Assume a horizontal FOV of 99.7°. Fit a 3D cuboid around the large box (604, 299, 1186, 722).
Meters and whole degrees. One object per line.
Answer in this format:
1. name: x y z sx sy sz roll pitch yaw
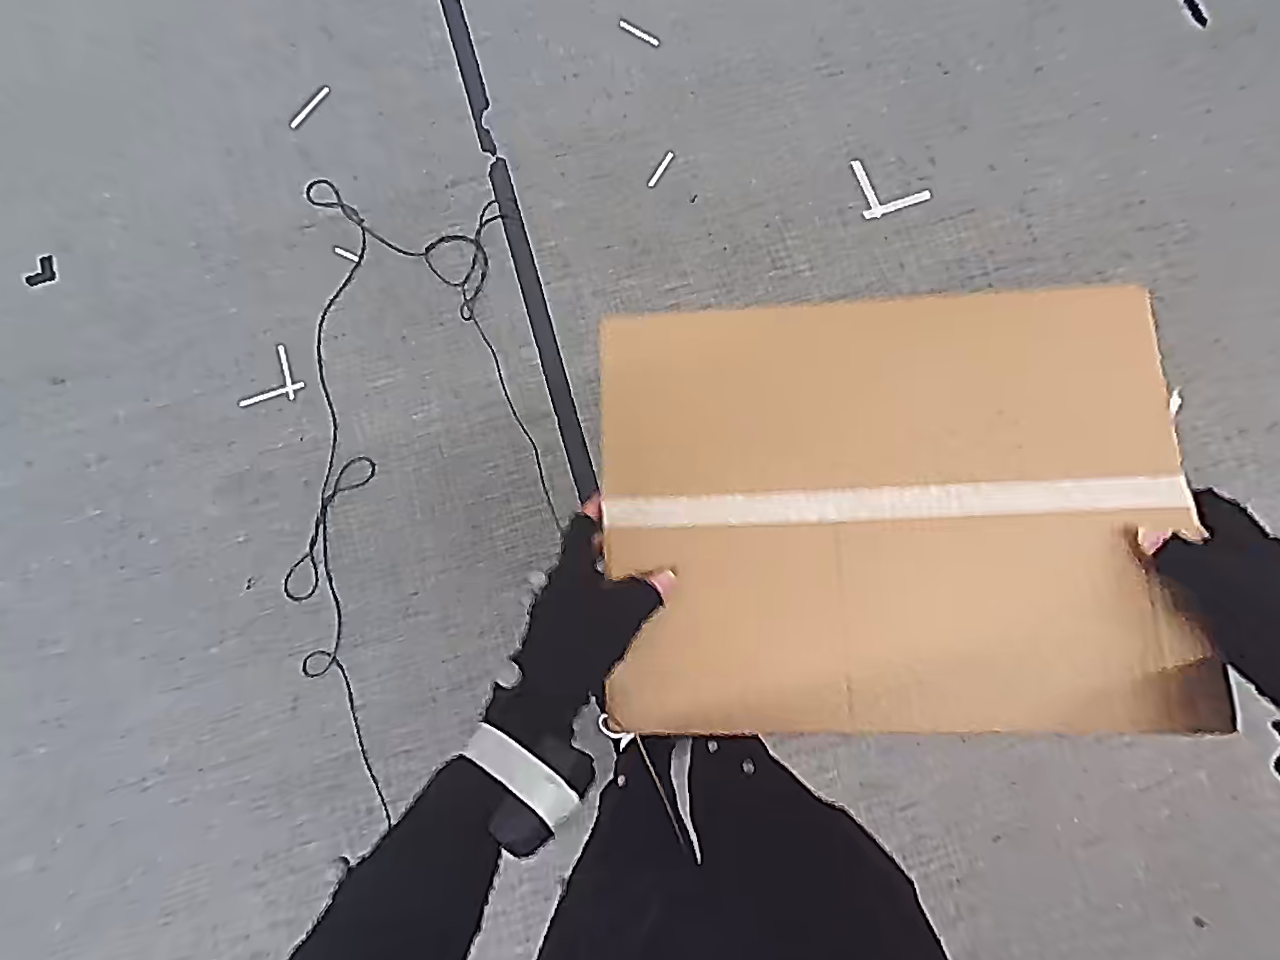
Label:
1. large box: 0.188 0.044 0.556 0.408 0.320 0.320 -2 79 5
